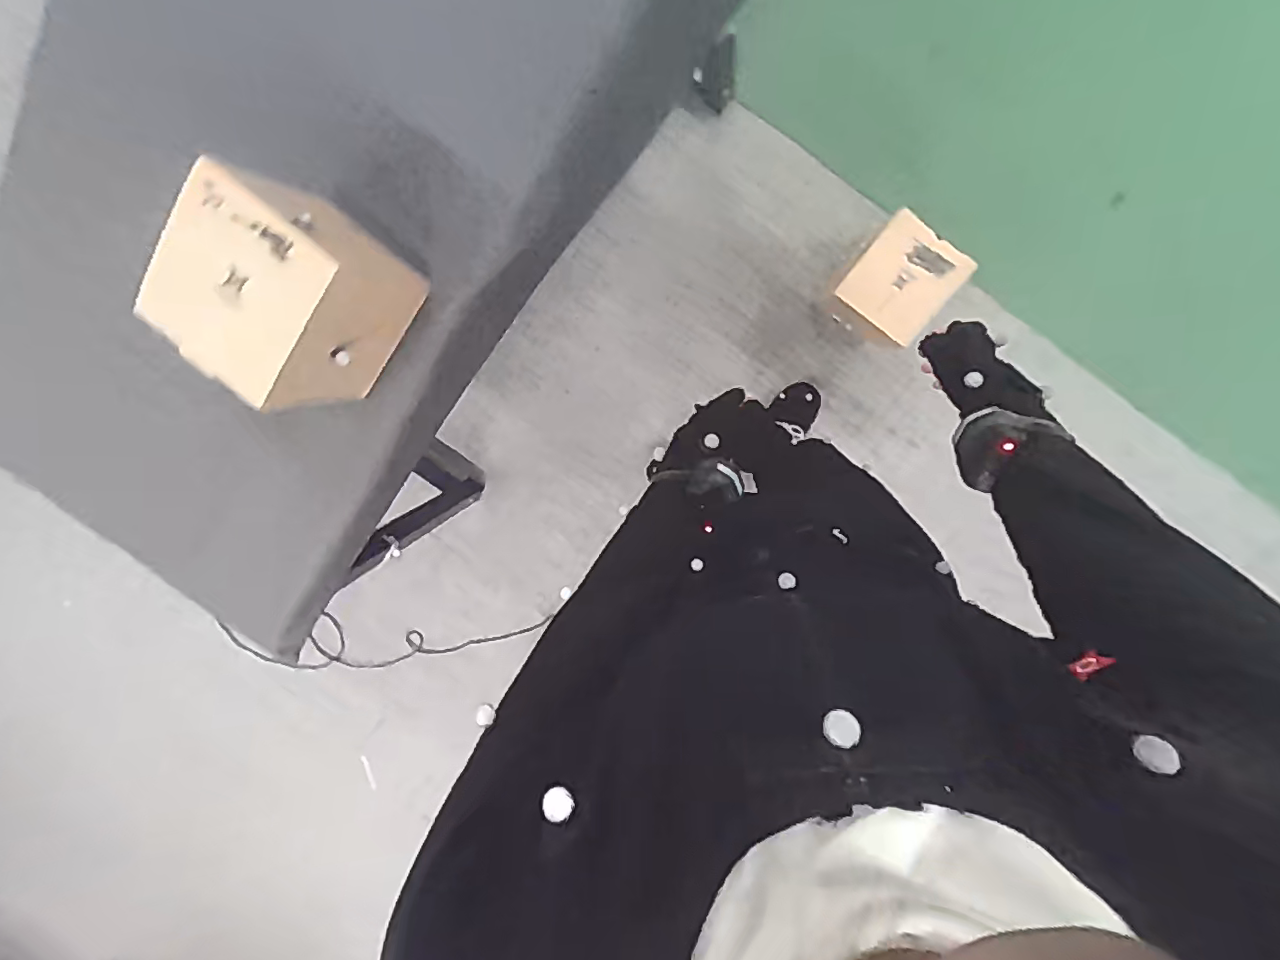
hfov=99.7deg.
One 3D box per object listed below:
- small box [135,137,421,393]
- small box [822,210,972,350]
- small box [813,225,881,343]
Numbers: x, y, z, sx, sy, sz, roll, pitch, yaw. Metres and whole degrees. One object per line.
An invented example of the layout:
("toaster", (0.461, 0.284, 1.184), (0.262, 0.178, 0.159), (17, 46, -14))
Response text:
("small box", (-0.379, -0.218, 0.596), (0.168, 0.176, 0.179), (40, 106, -2))
("small box", (0.468, -0.366, 1.022), (0.168, 0.176, 0.179), (39, 107, -1))
("small box", (0.498, -0.415, 1.177), (0.168, 0.176, 0.179), (37, 108, -1))
